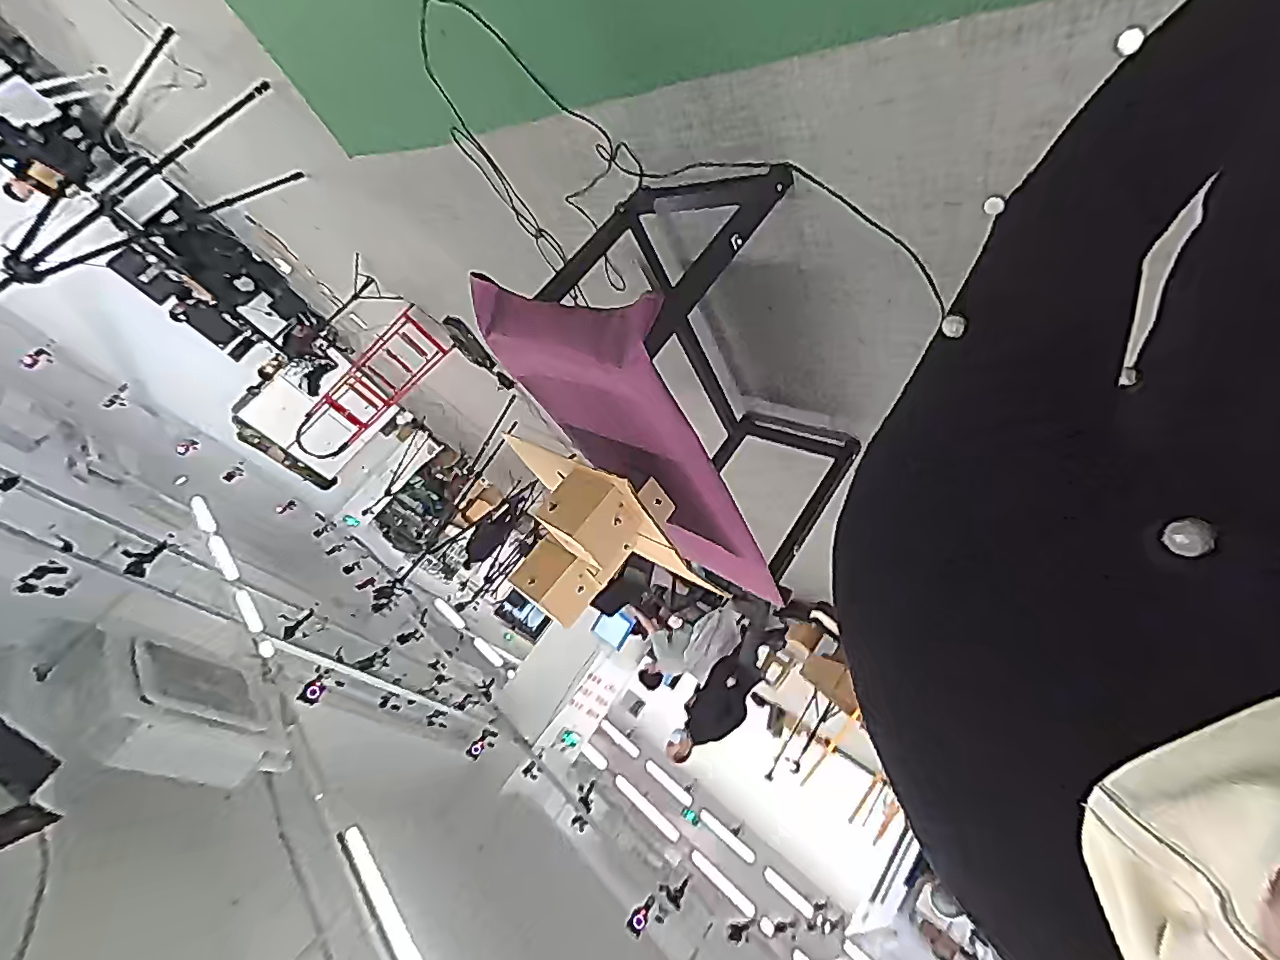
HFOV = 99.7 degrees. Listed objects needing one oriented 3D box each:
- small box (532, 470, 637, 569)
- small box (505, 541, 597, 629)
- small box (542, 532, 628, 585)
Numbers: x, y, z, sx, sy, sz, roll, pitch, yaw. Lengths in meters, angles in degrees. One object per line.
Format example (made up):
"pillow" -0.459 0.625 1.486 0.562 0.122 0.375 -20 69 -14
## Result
"small box" -0.140 0.097 1.410 0.179 0.176 0.168 21 155 43
"small box" -0.260 0.305 1.614 0.179 0.176 0.168 19 152 44
"small box" -0.158 0.187 1.658 0.179 0.176 0.168 22 154 44
